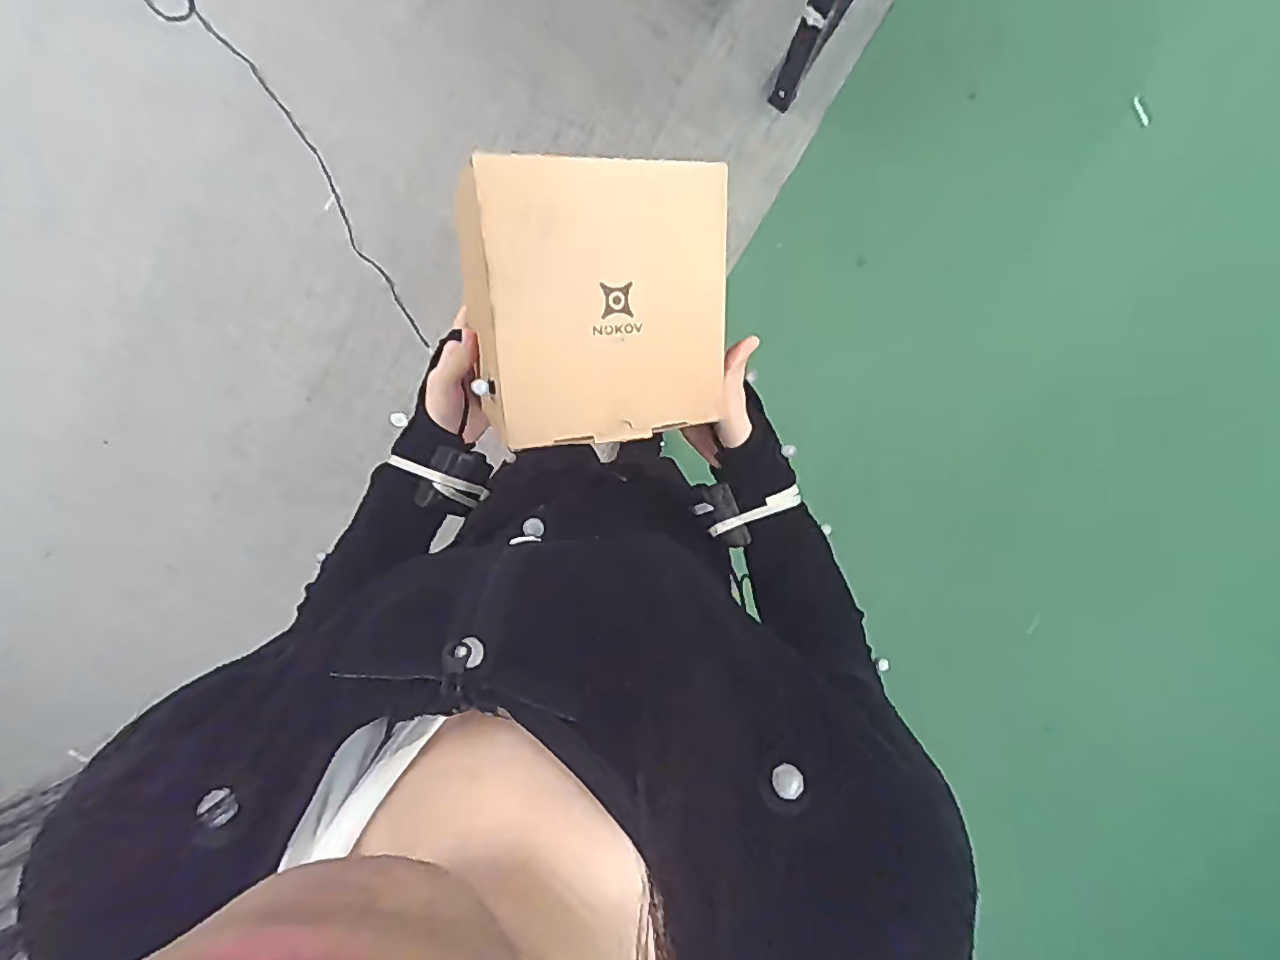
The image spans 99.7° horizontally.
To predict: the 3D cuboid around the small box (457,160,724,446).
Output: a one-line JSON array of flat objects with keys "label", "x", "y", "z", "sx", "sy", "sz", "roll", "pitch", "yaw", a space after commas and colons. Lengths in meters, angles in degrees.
[{"label": "small box", "x": -0.046, "y": -0.142, "z": 0.436, "sx": 0.168, "sy": 0.176, "sz": 0.179, "roll": -11, "pitch": 114, "yaw": -18}]
